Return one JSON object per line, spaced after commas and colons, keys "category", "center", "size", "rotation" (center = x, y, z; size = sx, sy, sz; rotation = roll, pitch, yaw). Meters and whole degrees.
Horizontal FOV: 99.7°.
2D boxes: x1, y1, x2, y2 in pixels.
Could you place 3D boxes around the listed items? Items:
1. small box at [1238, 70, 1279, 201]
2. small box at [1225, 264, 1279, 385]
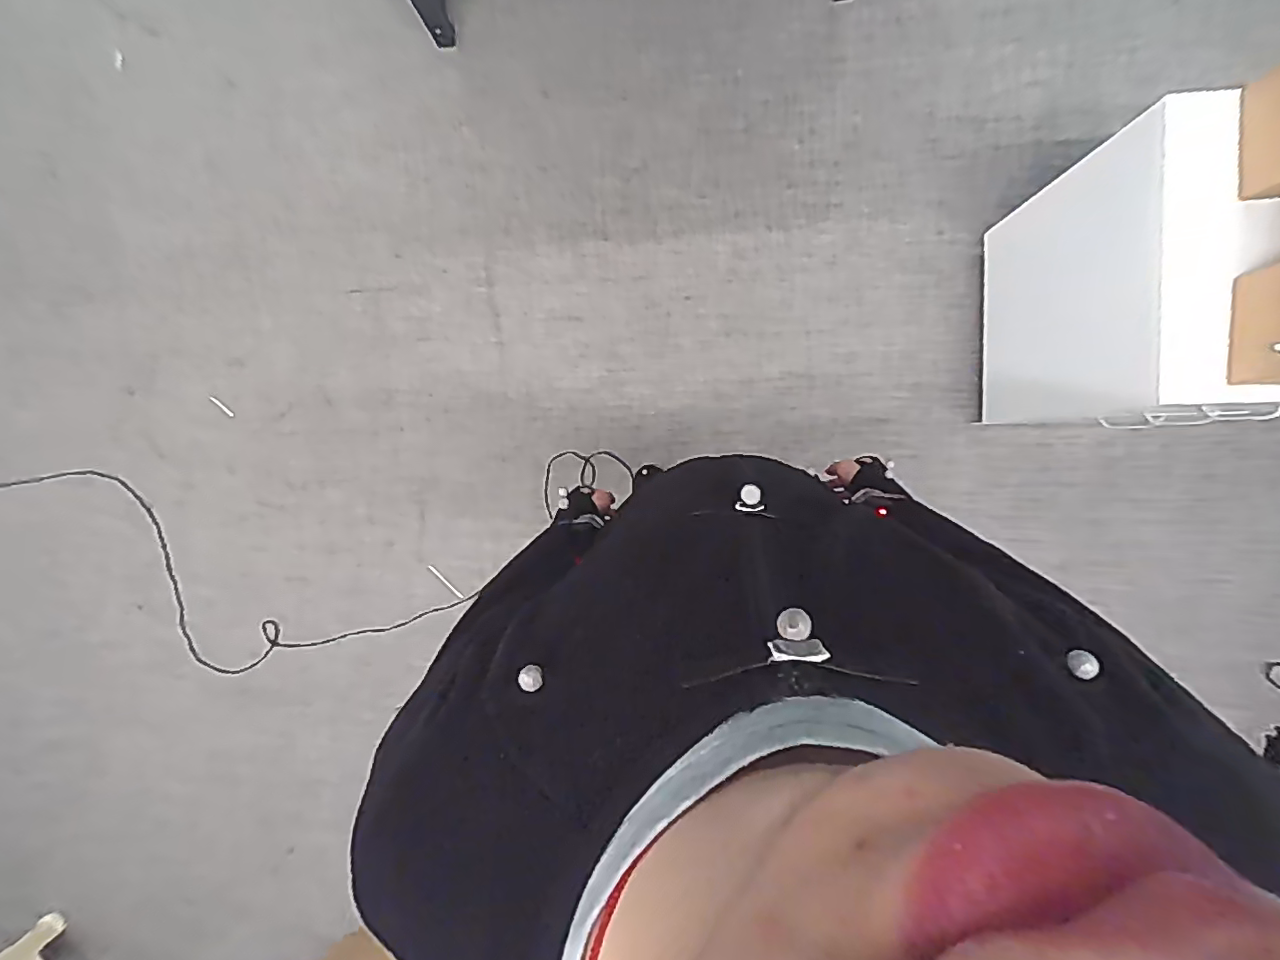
{"category": "small box", "center": [1.034, -0.533, 0.780], "size": [0.168, 0.176, 0.179], "rotation": [-2, 94, 5]}
{"category": "small box", "center": [1.032, -0.235, 0.798], "size": [0.168, 0.176, 0.179], "rotation": [1, 91, 4]}
